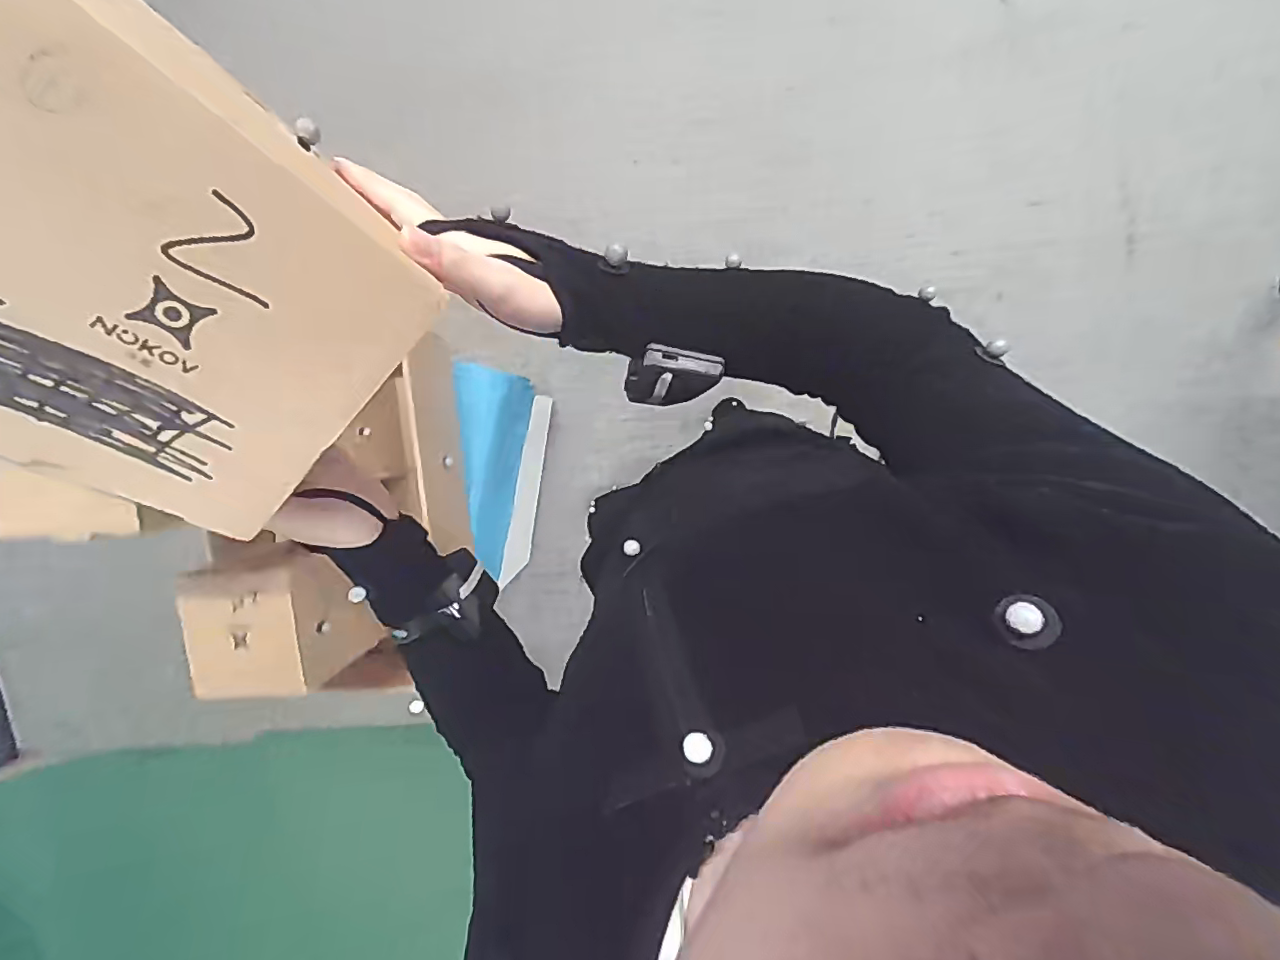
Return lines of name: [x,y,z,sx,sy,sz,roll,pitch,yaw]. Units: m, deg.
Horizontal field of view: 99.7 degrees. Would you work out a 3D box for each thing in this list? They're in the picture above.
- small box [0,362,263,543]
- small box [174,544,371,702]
small box: [-0.562,-0.036,0.604,0.168,0.176,0.179,-2,98,5]
small box: [-0.522,0.201,0.795,0.168,0.176,0.179,-4,96,6]
